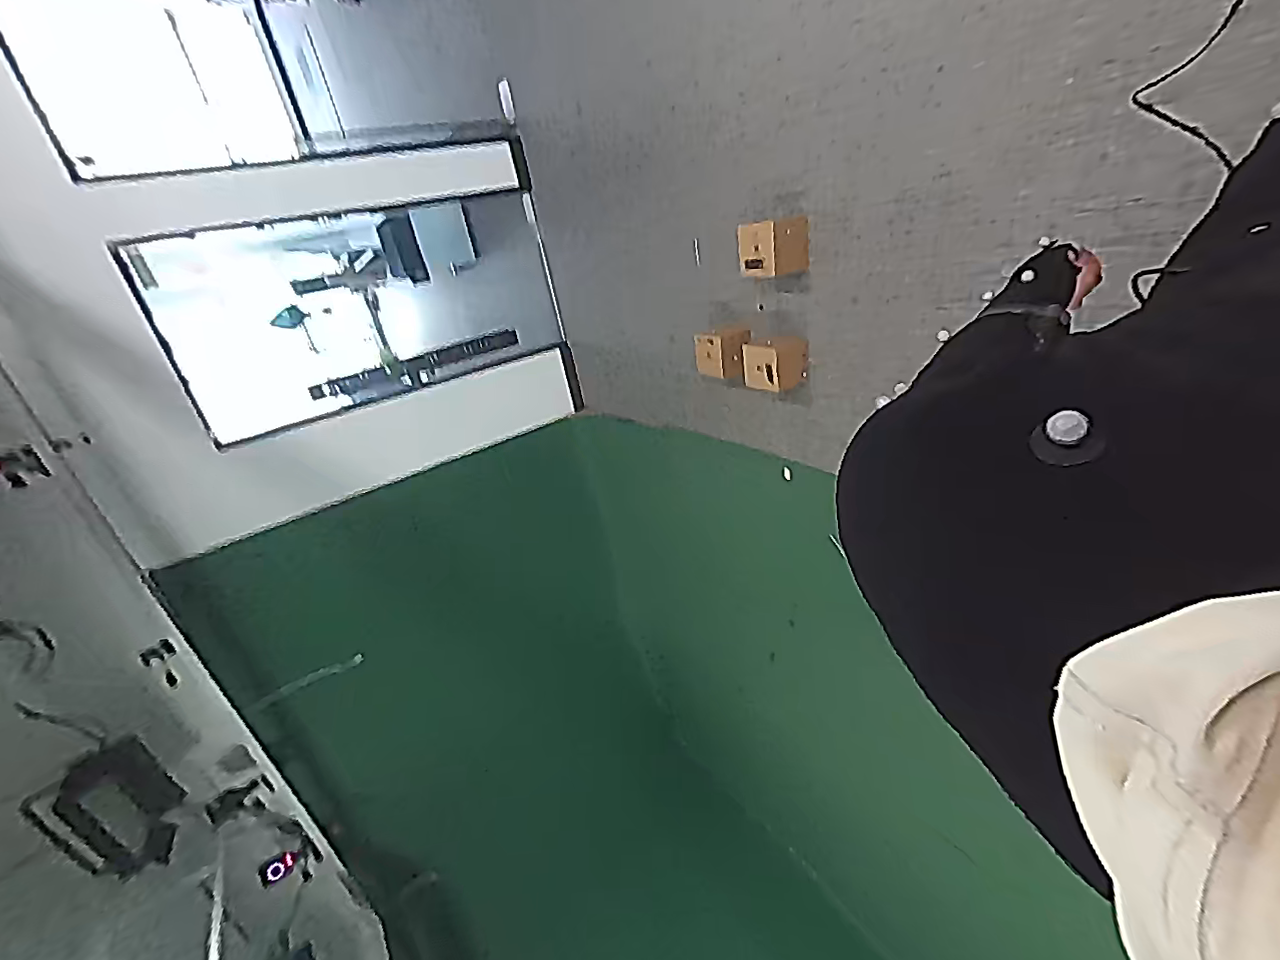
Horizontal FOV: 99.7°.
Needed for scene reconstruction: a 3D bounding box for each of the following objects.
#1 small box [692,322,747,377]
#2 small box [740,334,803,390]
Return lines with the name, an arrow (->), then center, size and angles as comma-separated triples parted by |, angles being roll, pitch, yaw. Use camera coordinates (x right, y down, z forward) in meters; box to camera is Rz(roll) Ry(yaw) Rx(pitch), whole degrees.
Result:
small box -> 0.342, -0.558, 2.293 | 0.168, 0.176, 0.179 | 28, 135, 49
small box -> 0.510, -0.458, 2.078 | 0.179, 0.176, 0.168 | 26, 133, 51
